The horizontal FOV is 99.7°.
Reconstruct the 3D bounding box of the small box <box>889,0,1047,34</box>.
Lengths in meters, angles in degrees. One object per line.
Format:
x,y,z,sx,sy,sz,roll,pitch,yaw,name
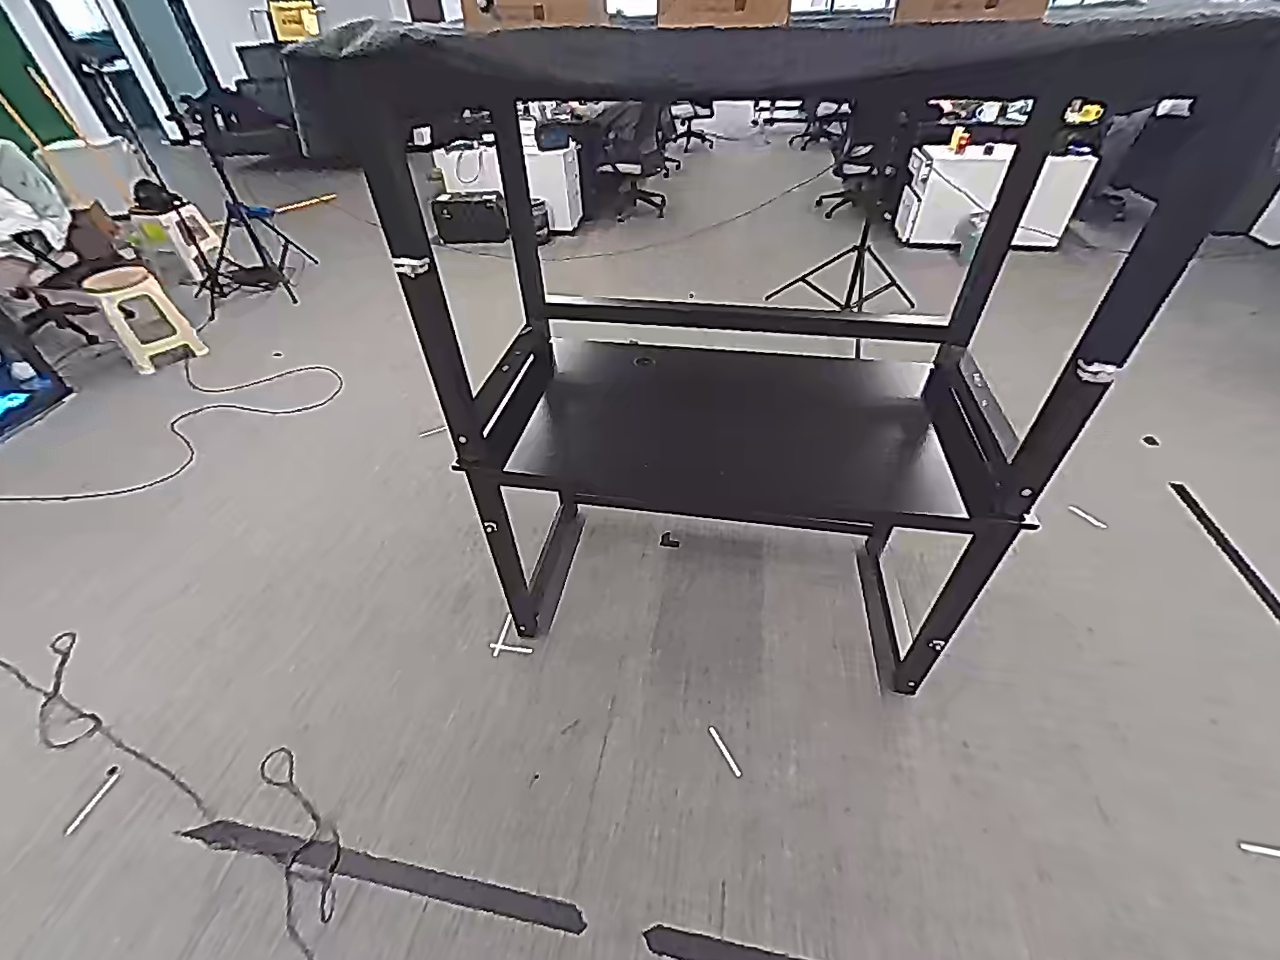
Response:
0.409,-0.651,0.651,0.168,0.176,0.179,11,43,14,small box

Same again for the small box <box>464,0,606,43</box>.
-0.139,-0.694,0.719,0.168,0.176,0.179,5,40,5,small box
